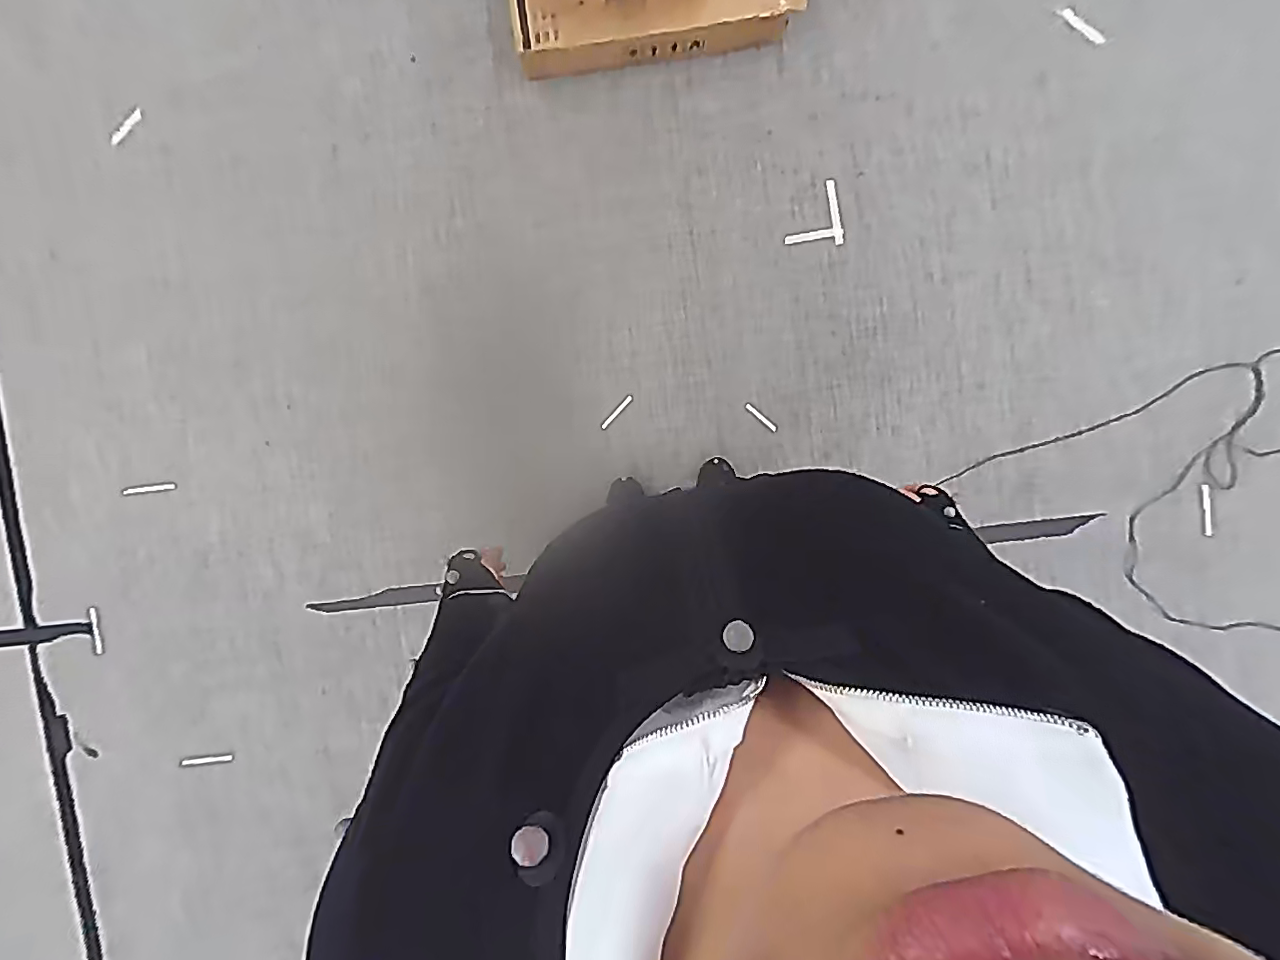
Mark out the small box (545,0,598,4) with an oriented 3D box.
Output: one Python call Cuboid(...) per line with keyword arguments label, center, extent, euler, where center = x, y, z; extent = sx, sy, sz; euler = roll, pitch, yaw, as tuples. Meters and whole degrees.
Cuboid(label="small box", center=(-0.175, -1.272, 1.272), extent=(0.168, 0.176, 0.179), euler=(-6, 93, 2))
